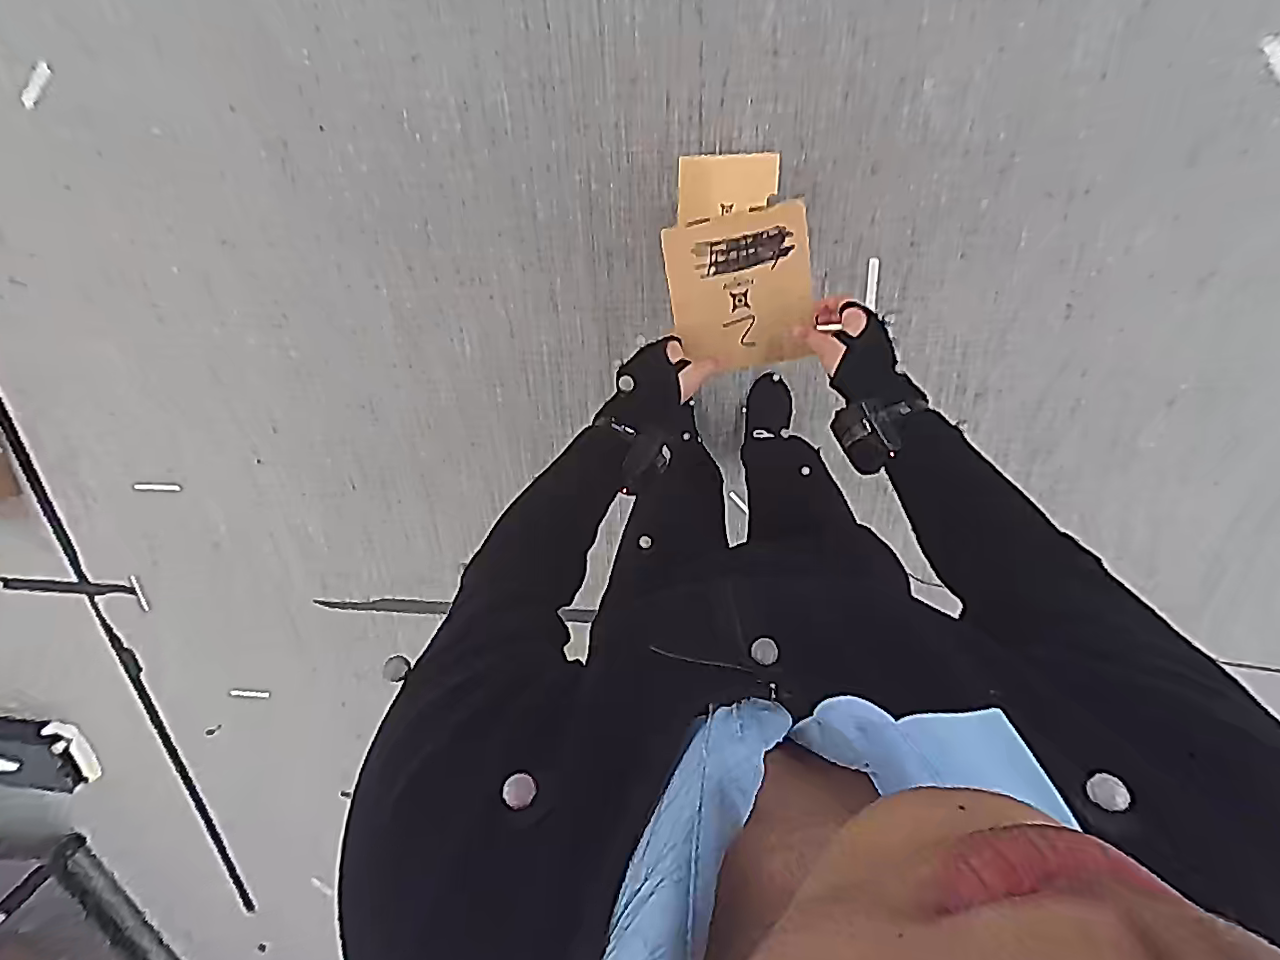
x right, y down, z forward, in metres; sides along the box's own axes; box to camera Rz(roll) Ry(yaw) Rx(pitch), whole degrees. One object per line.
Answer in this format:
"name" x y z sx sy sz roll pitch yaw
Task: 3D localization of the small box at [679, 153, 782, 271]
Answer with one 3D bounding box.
"small box" 0.155 -0.474 0.976 0.168 0.176 0.179 1 113 6
